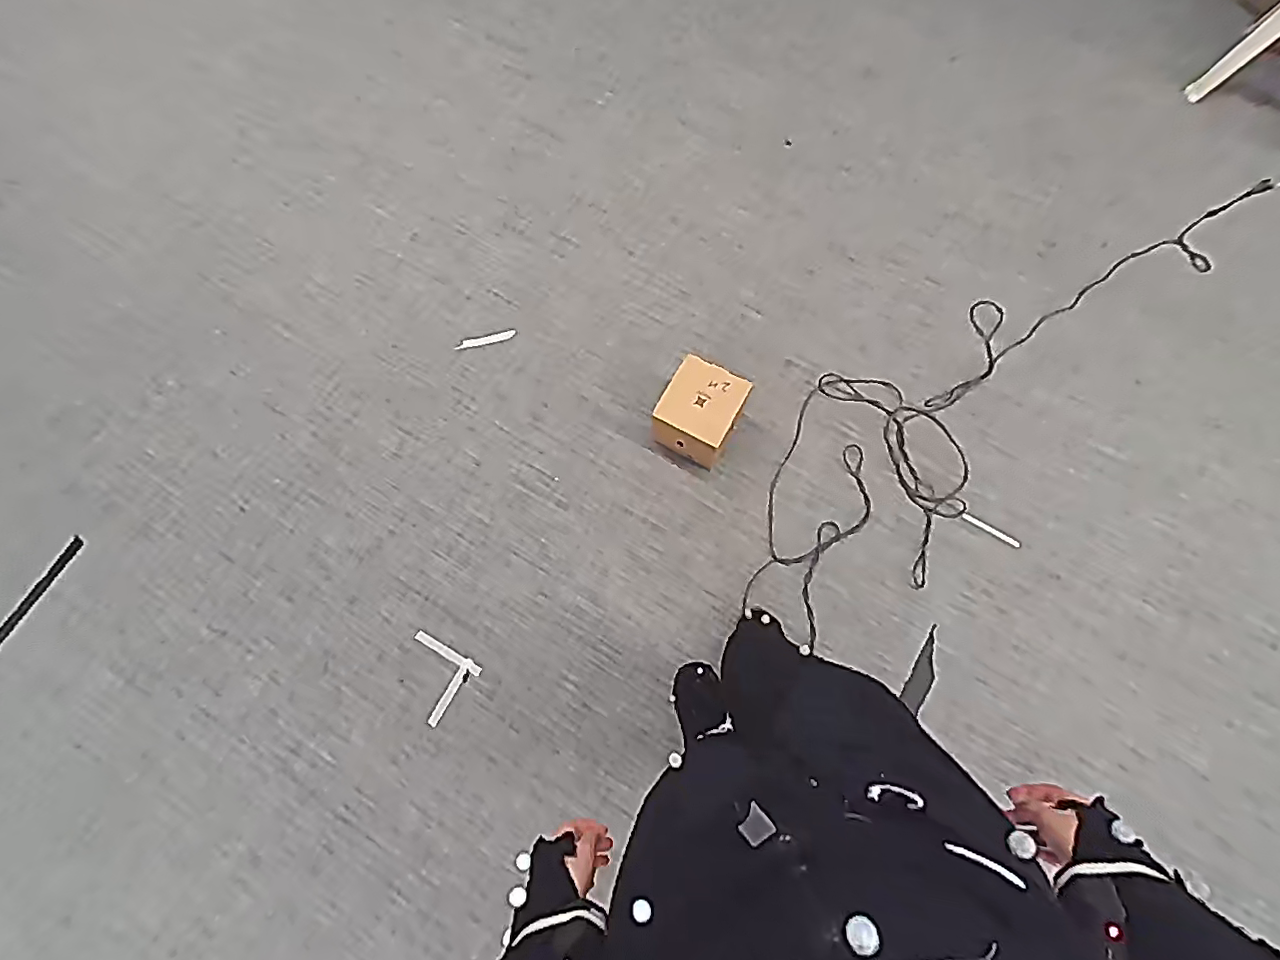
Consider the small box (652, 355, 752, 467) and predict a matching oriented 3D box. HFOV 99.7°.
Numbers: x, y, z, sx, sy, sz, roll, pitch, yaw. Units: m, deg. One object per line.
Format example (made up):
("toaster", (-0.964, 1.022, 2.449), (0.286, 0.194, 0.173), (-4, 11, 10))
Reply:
("small box", (0.144, -0.153, 1.269), (0.168, 0.176, 0.179), (28, 78, 9))
